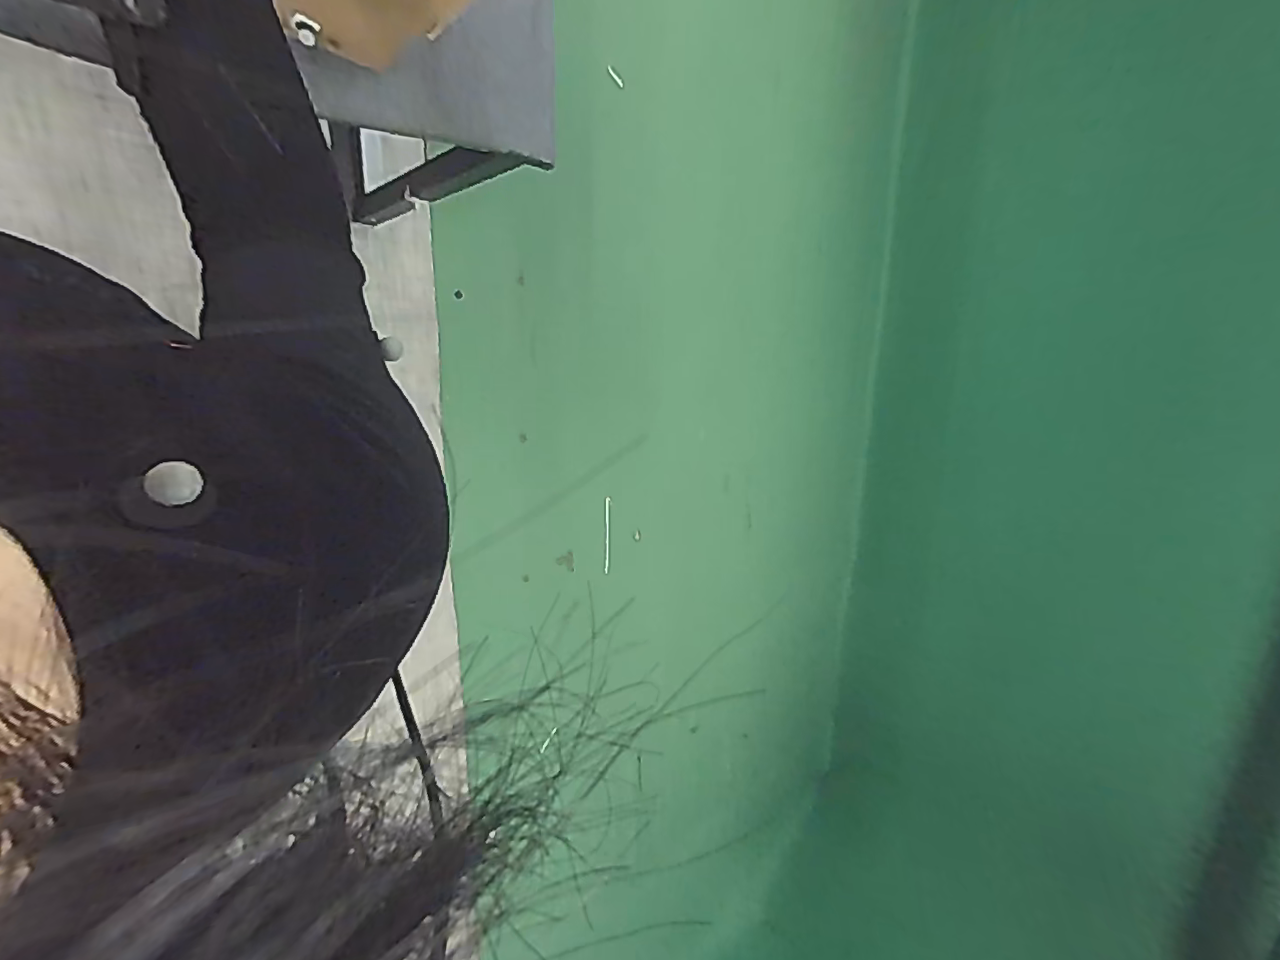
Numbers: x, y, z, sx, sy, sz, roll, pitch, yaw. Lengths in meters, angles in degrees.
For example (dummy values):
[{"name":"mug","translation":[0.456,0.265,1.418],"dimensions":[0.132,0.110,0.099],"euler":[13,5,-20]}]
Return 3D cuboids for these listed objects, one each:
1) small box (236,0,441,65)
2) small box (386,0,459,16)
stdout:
[{"name":"small box","translation":[-0.320,-0.581,0.554],"dimensions":[0.168,0.176,0.179],"euler":[-9,106,-44]},{"name":"small box","translation":[-0.205,-0.540,0.446],"dimensions":[0.179,0.176,0.168],"euler":[6,95,-46]}]
